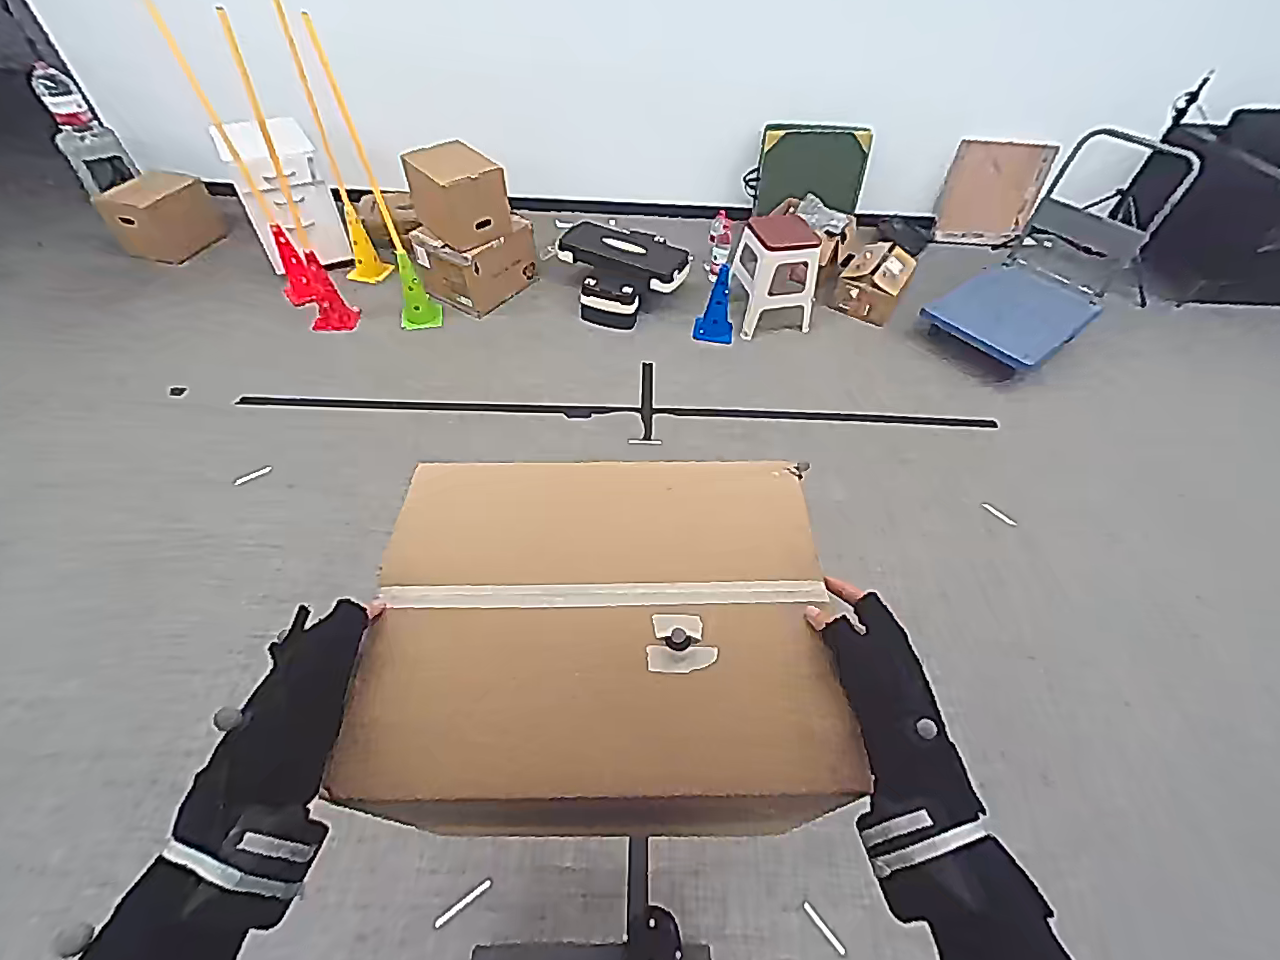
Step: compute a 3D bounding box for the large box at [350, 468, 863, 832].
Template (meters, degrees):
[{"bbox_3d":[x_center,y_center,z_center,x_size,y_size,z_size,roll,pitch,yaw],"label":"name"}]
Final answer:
[{"bbox_3d":[-0.029,0.200,0.620,0.408,0.320,0.320,0,53,-1],"label":"large box"}]
